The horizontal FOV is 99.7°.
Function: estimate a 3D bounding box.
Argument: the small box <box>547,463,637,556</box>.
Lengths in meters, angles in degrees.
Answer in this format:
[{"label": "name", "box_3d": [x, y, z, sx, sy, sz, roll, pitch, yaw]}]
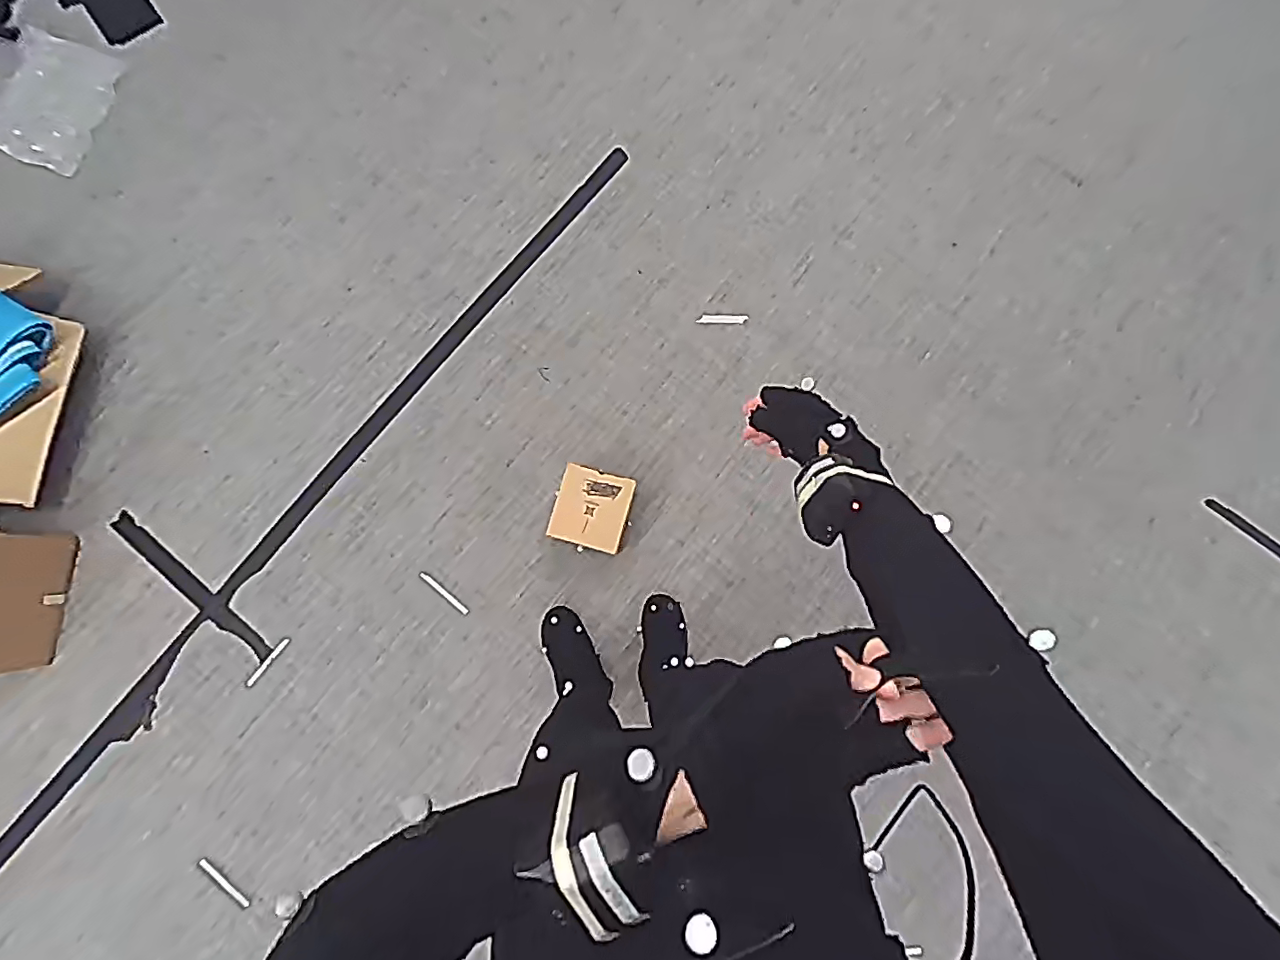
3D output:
[{"label": "small box", "box_3d": [-0.110, 0.076, 1.296, 0.168, 0.176, 0.179, 16, 82, 2]}]
